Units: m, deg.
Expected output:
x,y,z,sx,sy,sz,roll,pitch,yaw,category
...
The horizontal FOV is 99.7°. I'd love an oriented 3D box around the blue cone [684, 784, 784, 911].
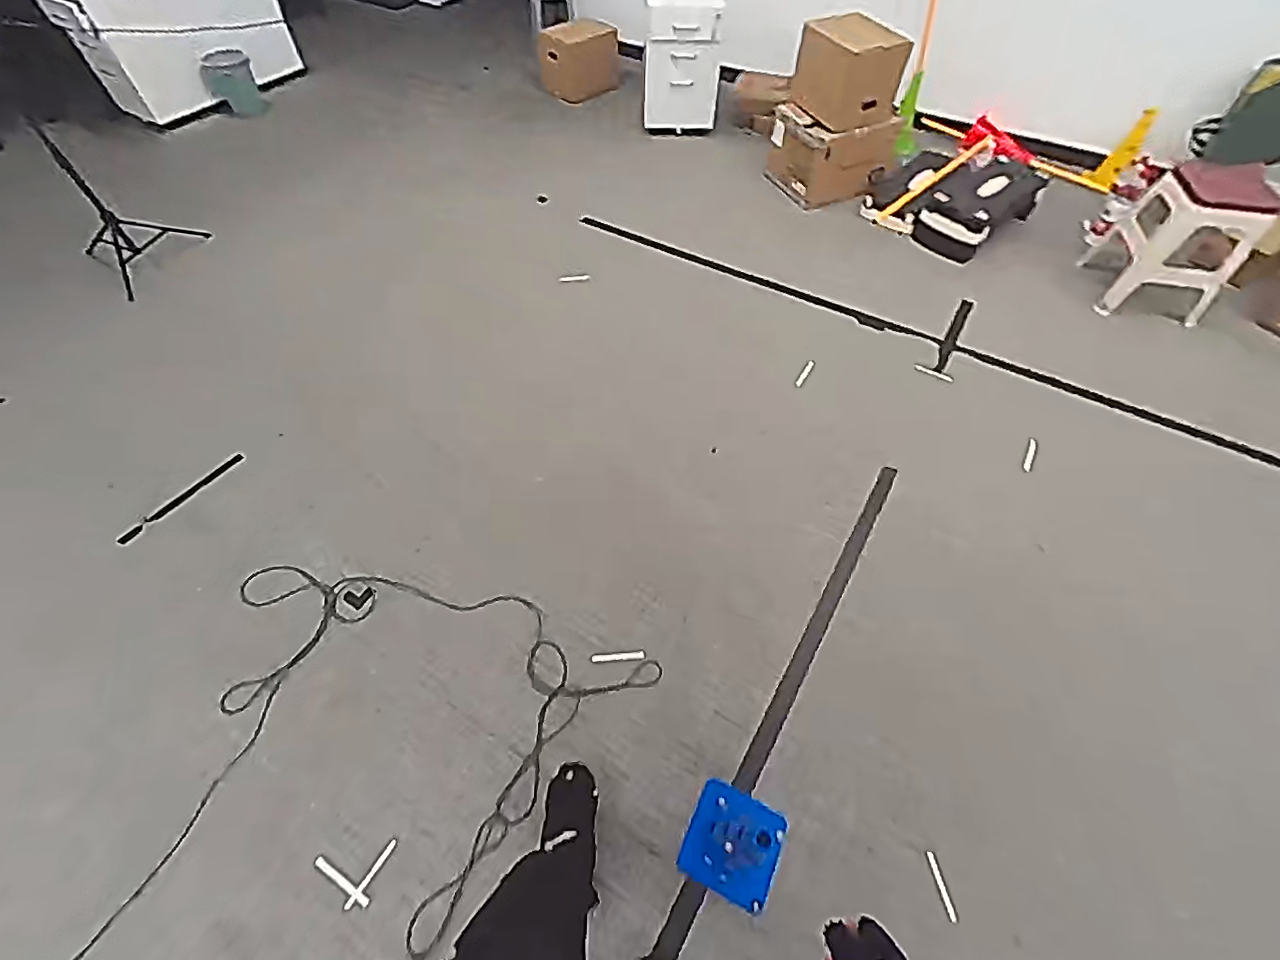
x,y,z,sx,sy,sz,roll,pitch,yaw,category
0.210,0.714,1.063,0.192,0.380,0.193,25,59,15,blue cone
